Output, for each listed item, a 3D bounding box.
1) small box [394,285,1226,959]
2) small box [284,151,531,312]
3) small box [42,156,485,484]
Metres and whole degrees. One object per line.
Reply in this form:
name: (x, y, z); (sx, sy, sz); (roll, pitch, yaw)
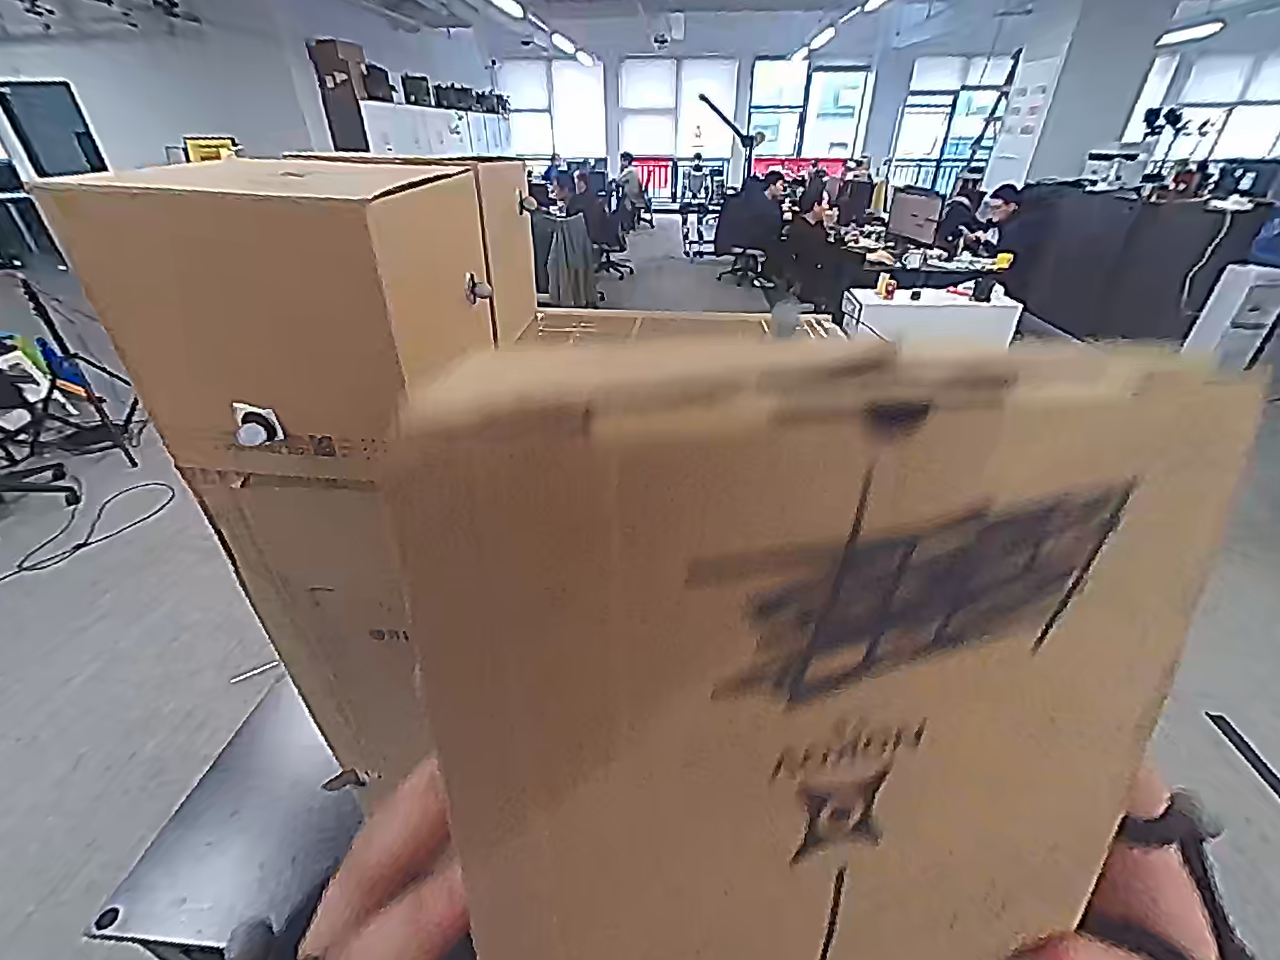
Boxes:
small box: (0.027, 0.029, 0.195); (0.168, 0.179, 0.176); (-6, 18, -11)
small box: (-0.212, -0.234, 0.554); (0.168, 0.176, 0.179); (2, 31, 2)
small box: (-0.210, -0.117, 0.373); (0.168, 0.176, 0.179); (2, 35, 1)
